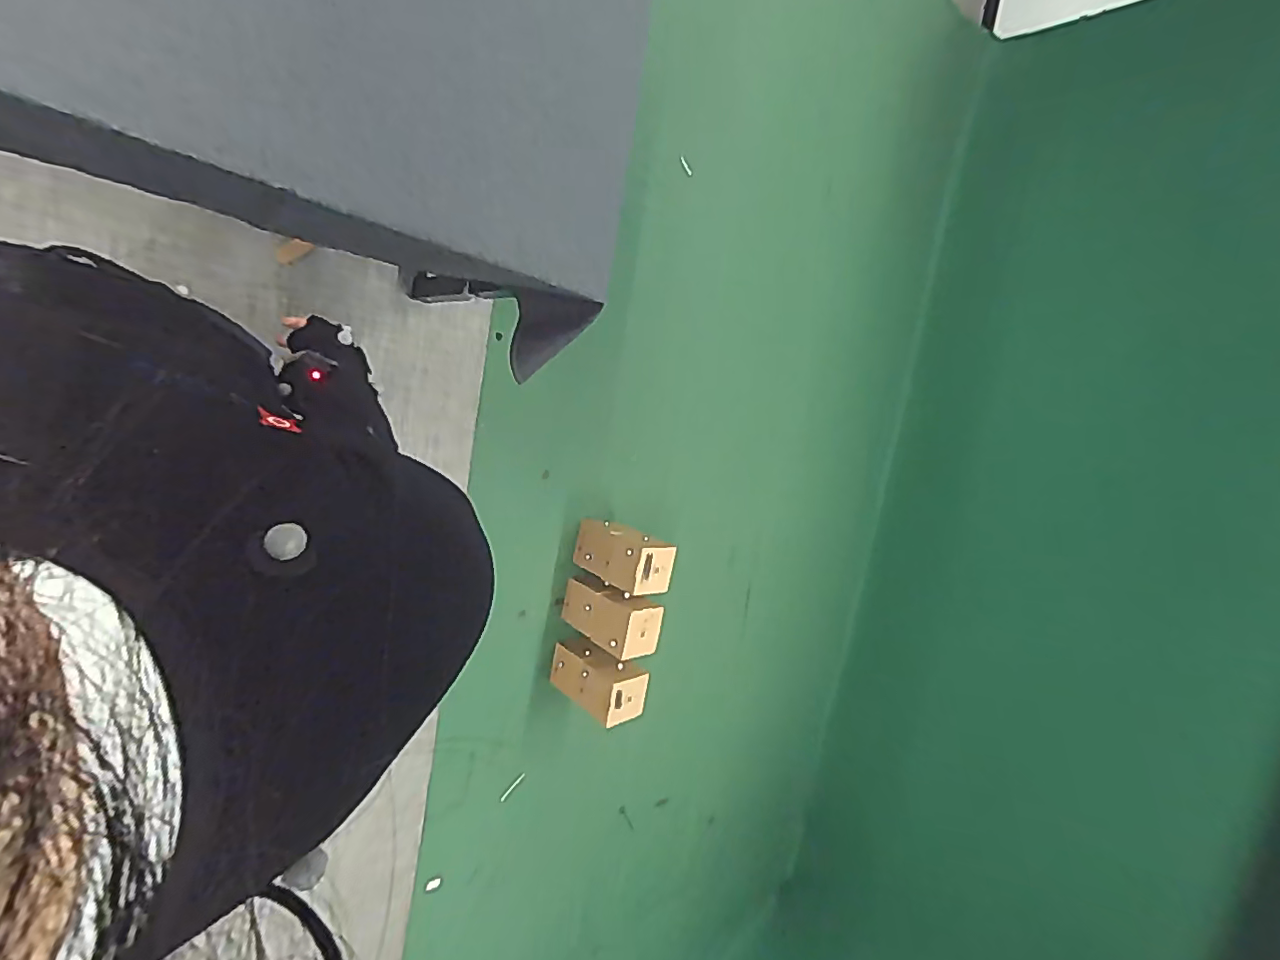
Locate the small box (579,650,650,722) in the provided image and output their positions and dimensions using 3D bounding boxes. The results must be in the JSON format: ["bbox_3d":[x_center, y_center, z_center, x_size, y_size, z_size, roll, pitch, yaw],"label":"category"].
[{"bbox_3d":[-0.095,0.729,1.932,0.179,0.176,0.168,3,101,-45],"label":"small box"}]

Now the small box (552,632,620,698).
[{"bbox_3d":[-0.206,0.694,2.048,0.179,0.176,0.168,4,100,-44],"label":"small box"}]

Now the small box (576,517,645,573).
[{"bbox_3d":[-0.114,0.239,2.002,0.179,0.176,0.168,10,95,-45],"label":"small box"}]
